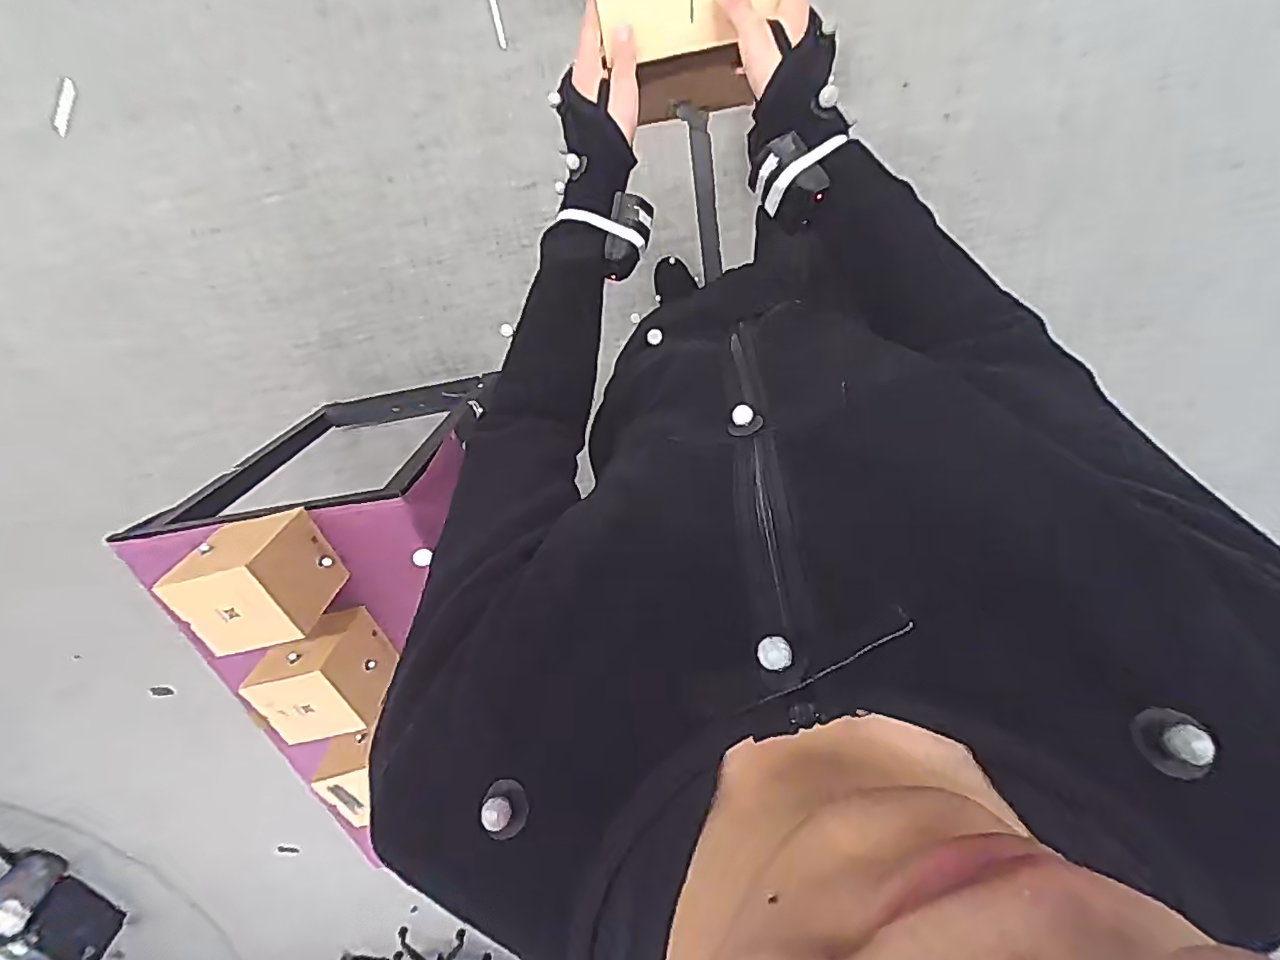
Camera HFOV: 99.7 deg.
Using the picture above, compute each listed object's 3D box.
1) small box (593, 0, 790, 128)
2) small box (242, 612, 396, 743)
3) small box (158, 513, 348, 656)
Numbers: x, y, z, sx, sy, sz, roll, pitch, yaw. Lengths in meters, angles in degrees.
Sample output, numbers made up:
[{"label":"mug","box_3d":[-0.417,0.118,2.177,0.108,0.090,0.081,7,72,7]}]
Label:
[{"label":"small box","box_3d":[0.036,-0.482,0.528,0.168,0.176,0.179,-10,107,3]},{"label":"small box","box_3d":[-0.614,0.384,1.069,0.179,0.176,0.168,-14,118,10]},{"label":"small box","box_3d":[-0.664,0.180,0.954,0.179,0.176,0.168,-12,120,9]}]
